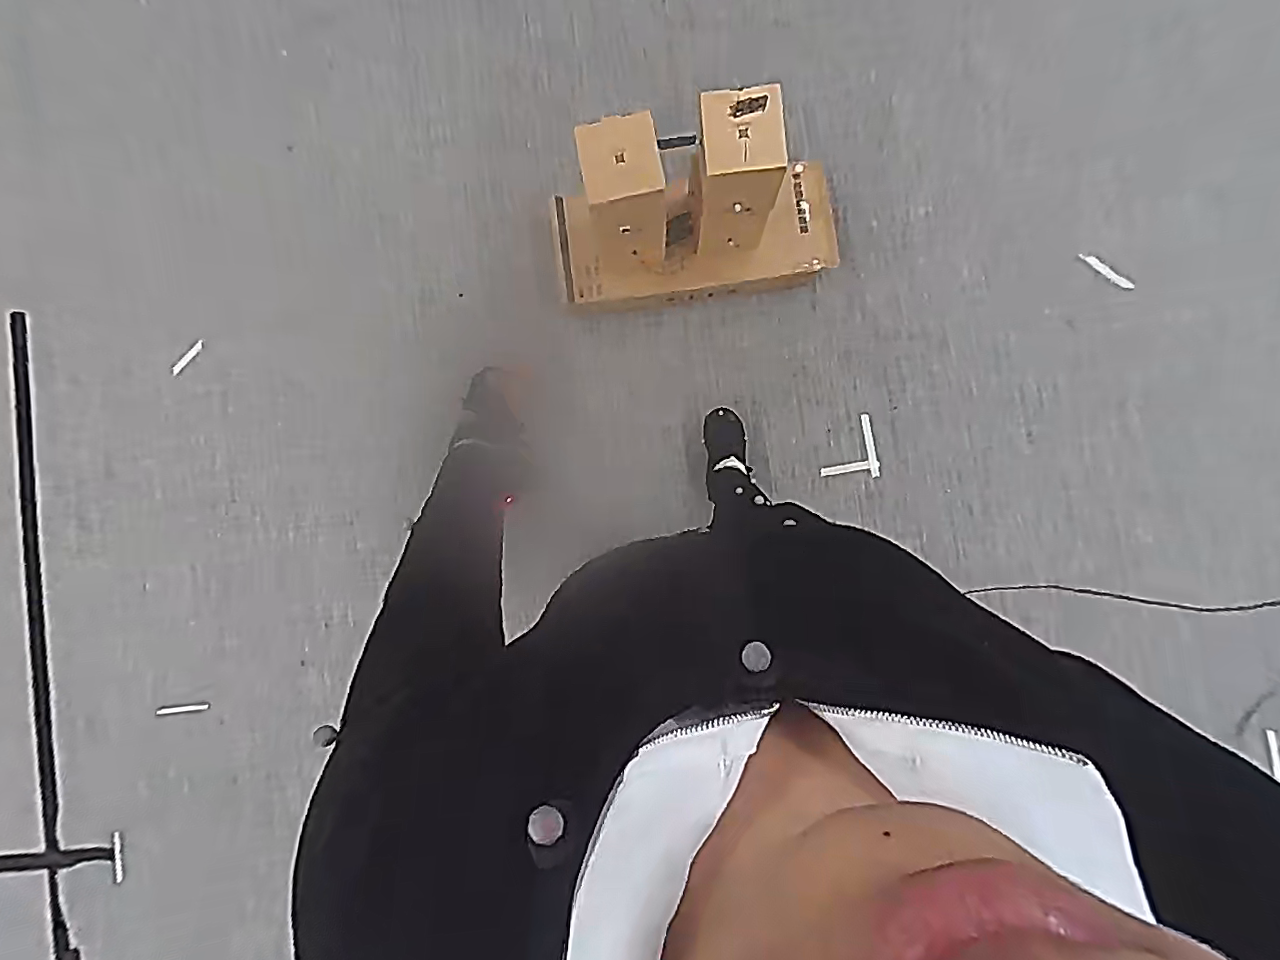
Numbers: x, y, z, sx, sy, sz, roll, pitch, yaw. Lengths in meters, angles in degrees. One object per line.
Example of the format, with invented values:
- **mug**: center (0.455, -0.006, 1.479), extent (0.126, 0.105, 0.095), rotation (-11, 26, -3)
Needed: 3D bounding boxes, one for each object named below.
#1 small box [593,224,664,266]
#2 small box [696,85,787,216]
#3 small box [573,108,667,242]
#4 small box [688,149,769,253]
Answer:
- **small box**: center (-0.032, -0.653, 1.348), extent (0.168, 0.176, 0.179), rotation (-10, 87, 2)
- **small box**: center (0.213, -0.706, 1.174), extent (0.168, 0.176, 0.179), rotation (-5, 87, 3)
- **small box**: center (-0.039, -0.659, 1.185), extent (0.168, 0.176, 0.179), rotation (-13, 87, 3)
- **small box**: center (0.213, -0.694, 1.338), extent (0.168, 0.176, 0.179), rotation (-8, 87, 3)
